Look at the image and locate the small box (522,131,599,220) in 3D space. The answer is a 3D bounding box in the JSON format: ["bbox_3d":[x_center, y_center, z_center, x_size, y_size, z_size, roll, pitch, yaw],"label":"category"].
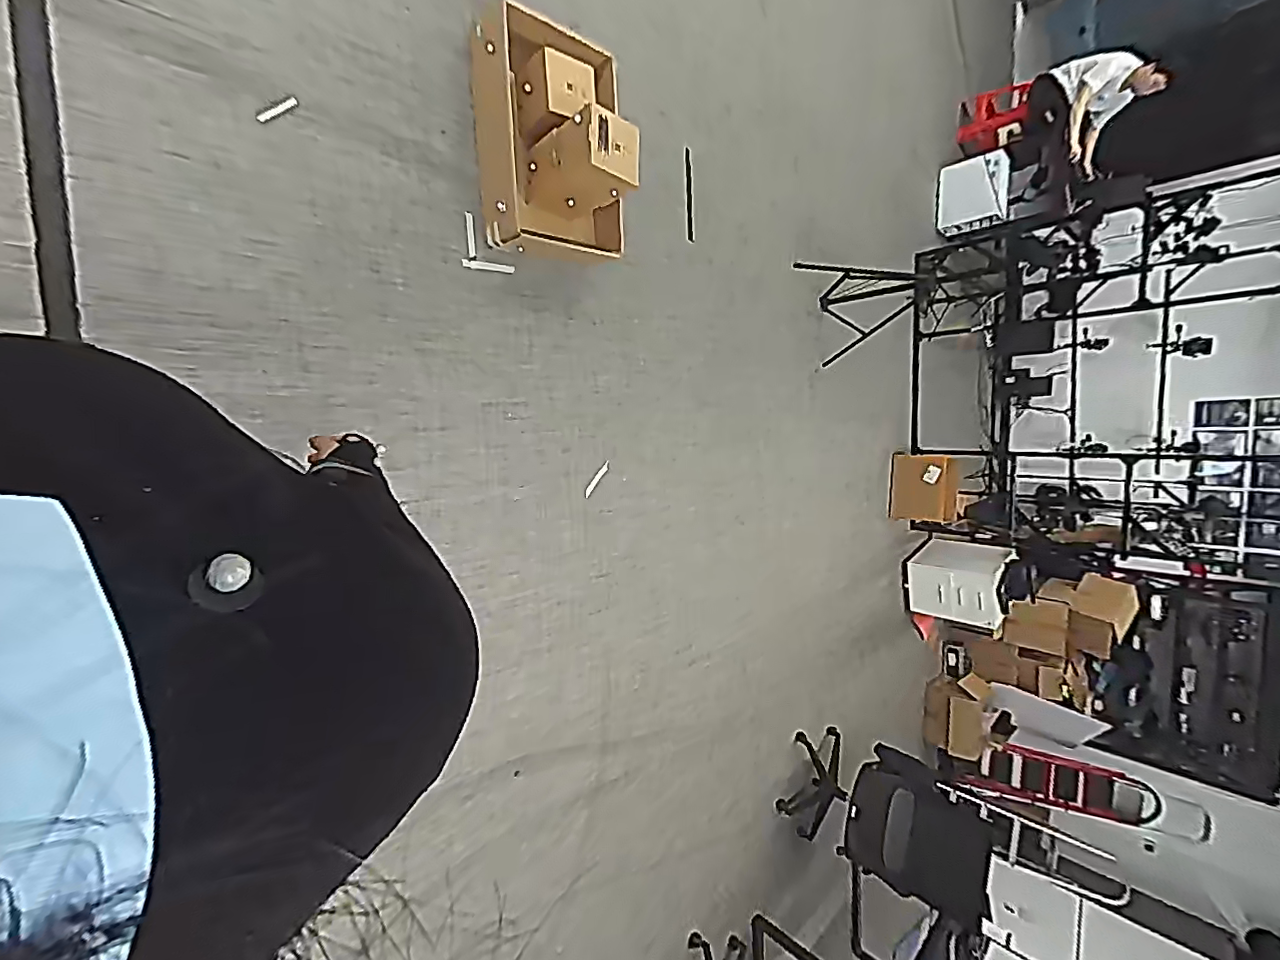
[{"bbox_3d":[-0.244,-0.926,1.663,0.179,0.176,0.168,-2,93,-43],"label":"small box"}]

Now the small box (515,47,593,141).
[{"bbox_3d":[-0.263,-1.137,1.621,0.179,0.176,0.168,-10,102,-43],"label":"small box"}]
